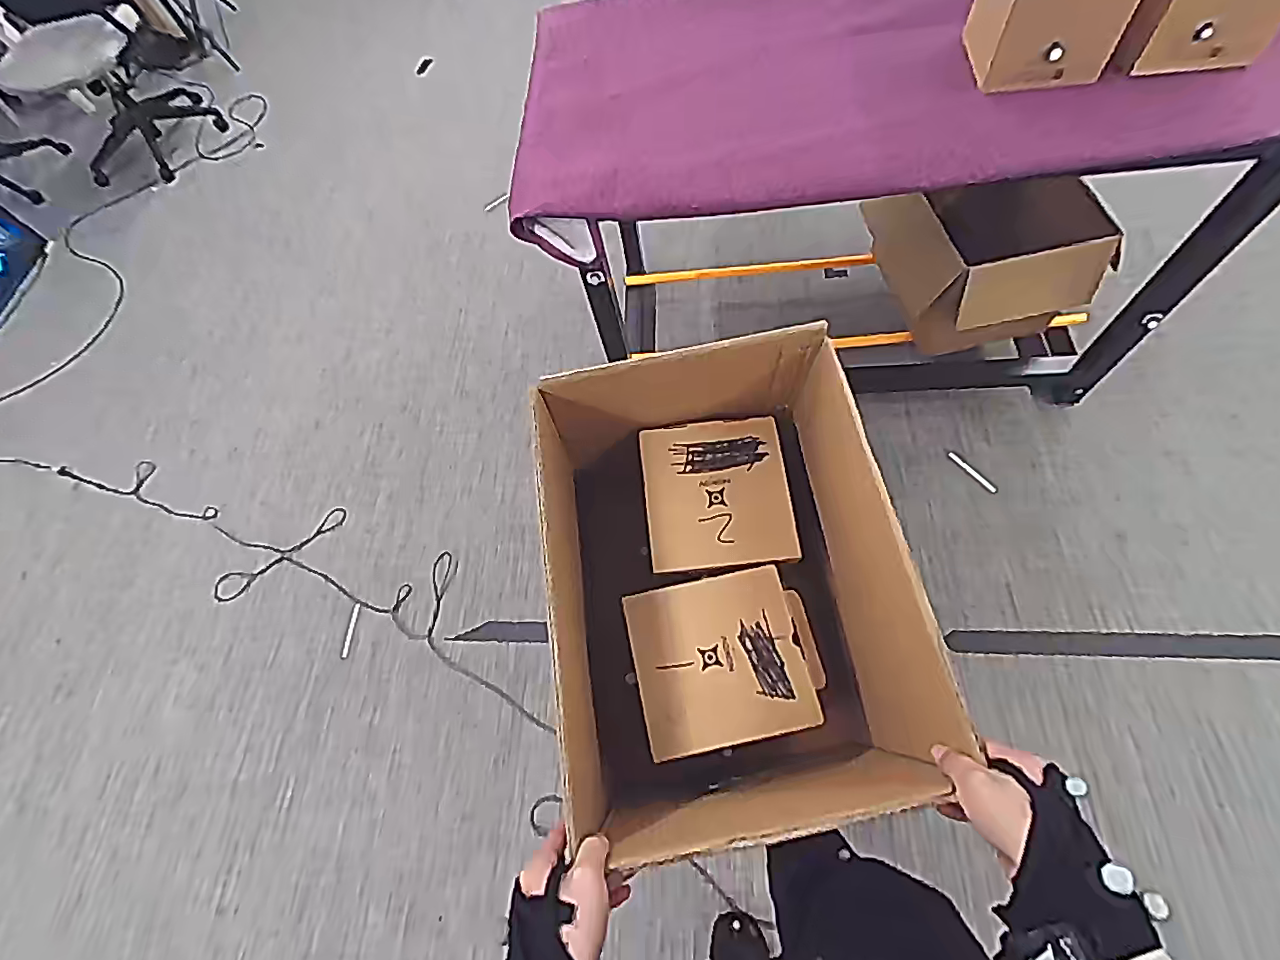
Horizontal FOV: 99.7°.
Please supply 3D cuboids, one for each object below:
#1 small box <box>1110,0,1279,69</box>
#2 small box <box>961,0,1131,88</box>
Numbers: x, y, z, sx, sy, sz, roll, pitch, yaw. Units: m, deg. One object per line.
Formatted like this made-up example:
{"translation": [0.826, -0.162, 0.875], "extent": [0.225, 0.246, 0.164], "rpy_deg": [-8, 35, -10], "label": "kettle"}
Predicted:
{"translation": [0.819, -0.739, 0.783], "extent": [0.168, 0.176, 0.179], "rpy_deg": [1, 64, 10], "label": "small box"}
{"translation": [0.610, -0.732, 0.813], "extent": [0.168, 0.176, 0.179], "rpy_deg": [1, 64, 10], "label": "small box"}
